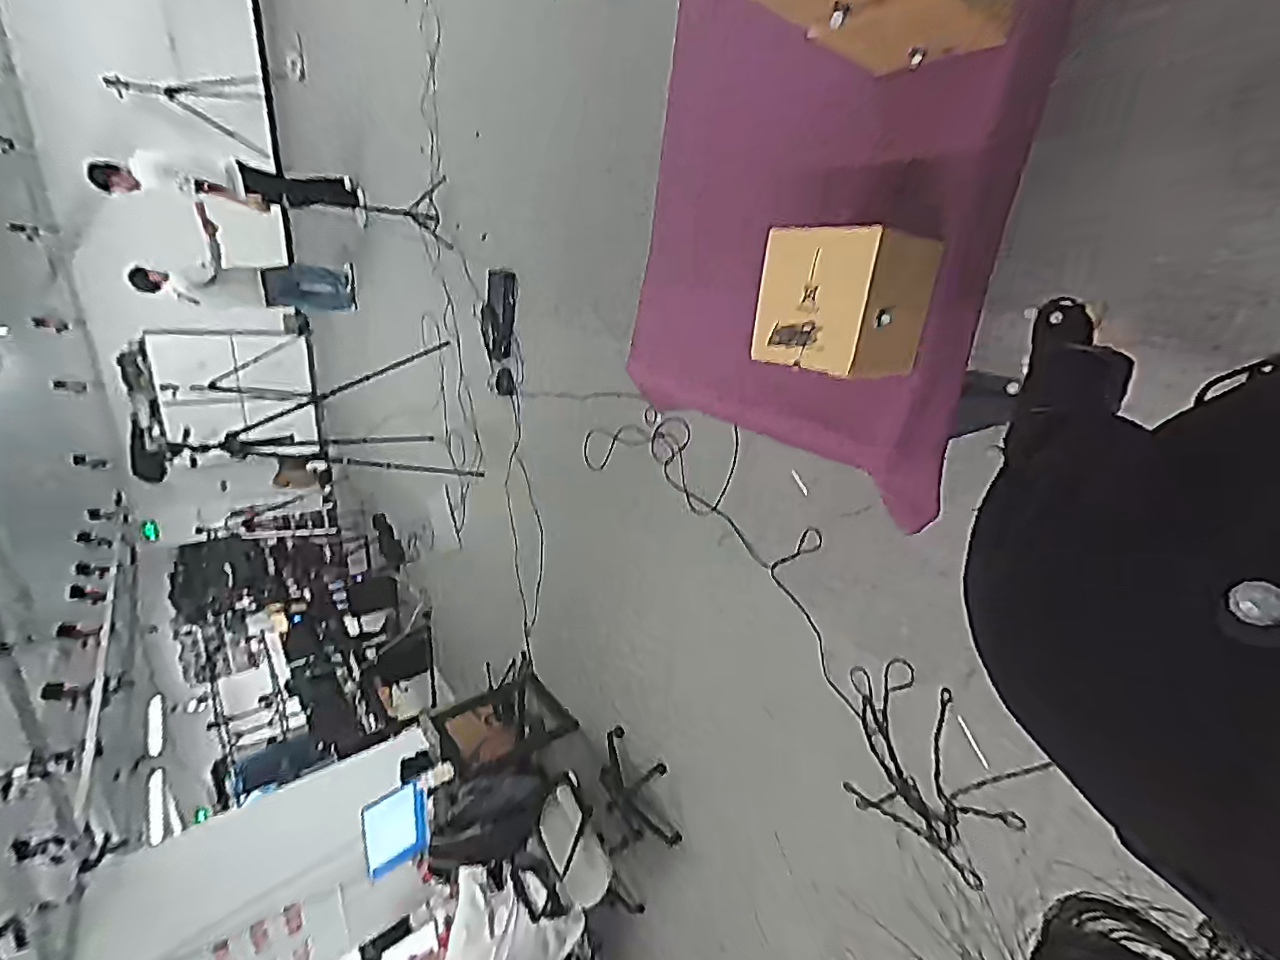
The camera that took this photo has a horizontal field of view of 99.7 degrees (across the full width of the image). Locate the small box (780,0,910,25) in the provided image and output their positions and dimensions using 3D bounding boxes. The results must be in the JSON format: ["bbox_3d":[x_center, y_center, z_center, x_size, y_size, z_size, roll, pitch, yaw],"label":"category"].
[{"bbox_3d":[0.200,-0.581,0.511,0.168,0.176,0.179,30,123,47],"label":"small box"}]

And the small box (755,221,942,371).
[{"bbox_3d":[0.288,-0.255,0.754,0.168,0.176,0.179,27,119,47],"label":"small box"}]
